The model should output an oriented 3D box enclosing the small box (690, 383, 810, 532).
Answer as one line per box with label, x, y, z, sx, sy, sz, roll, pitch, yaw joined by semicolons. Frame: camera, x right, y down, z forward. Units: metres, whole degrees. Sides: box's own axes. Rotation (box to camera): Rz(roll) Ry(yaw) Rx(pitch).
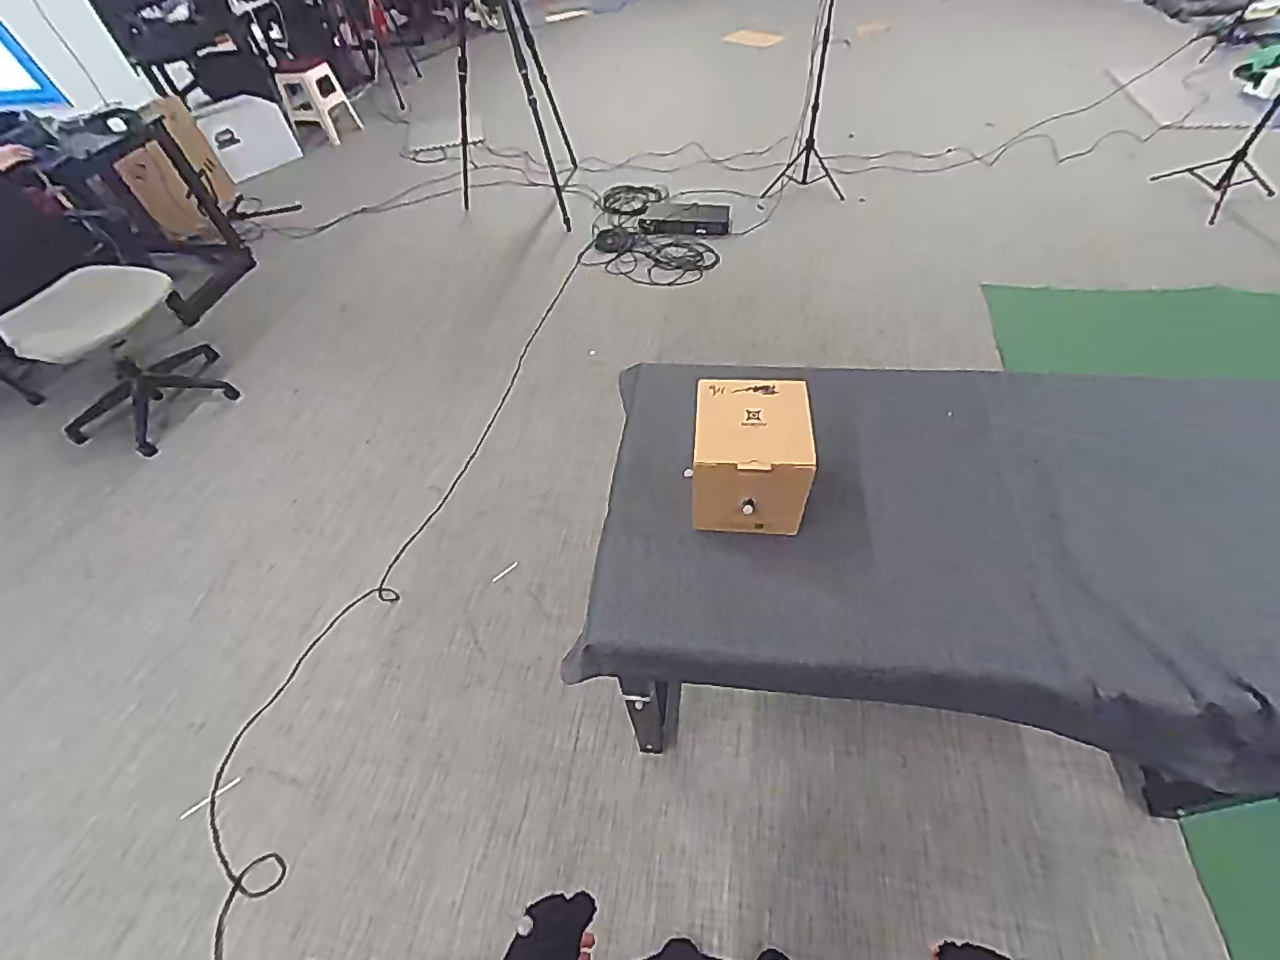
small box;0.168;-0.032;0.853;0.168;0.176;0.179;2;52;8
